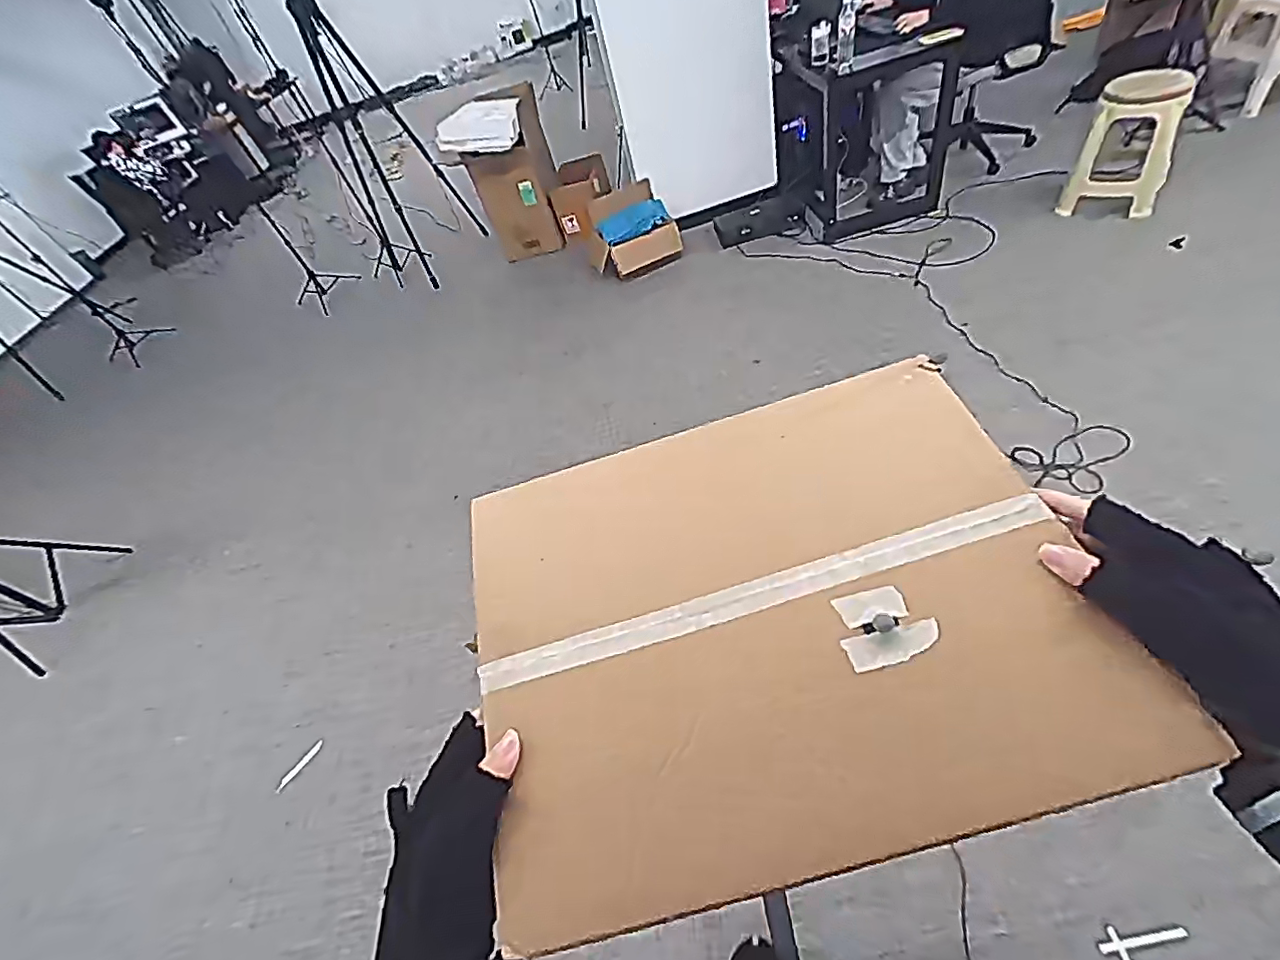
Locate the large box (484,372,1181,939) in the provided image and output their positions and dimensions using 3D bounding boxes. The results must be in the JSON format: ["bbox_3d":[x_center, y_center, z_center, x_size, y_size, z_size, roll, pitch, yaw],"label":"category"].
[{"bbox_3d":[0.112,0.165,0.514,0.408,0.320,0.320,-18,56,2],"label":"large box"}]
